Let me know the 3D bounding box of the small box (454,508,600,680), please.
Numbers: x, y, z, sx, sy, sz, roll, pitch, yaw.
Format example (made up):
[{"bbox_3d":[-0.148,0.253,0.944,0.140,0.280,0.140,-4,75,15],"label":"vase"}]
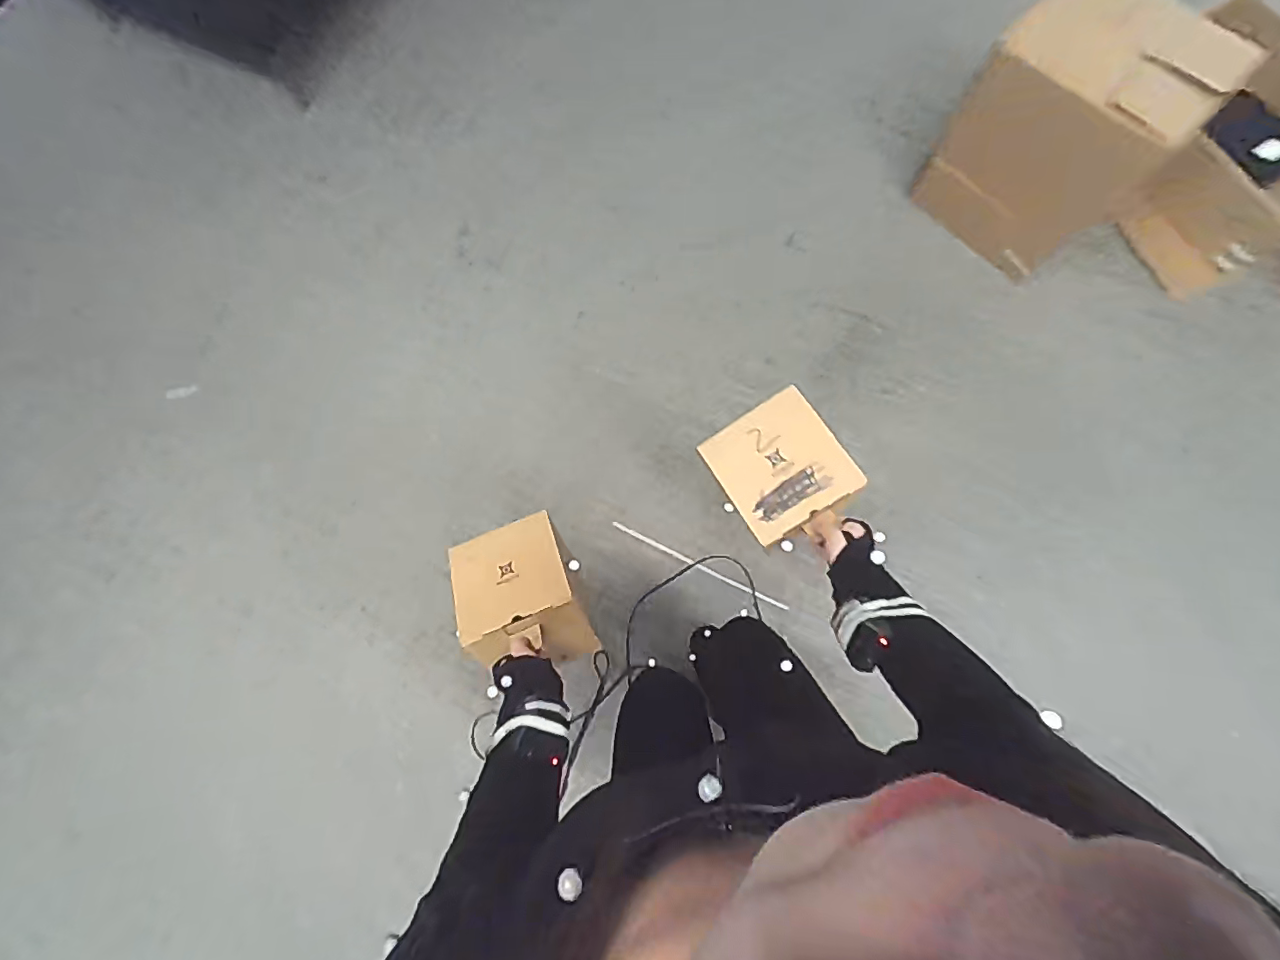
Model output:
[{"bbox_3d":[-0.174,0.181,0.848,0.168,0.176,0.179,-21,48,-4],"label":"small box"}]
